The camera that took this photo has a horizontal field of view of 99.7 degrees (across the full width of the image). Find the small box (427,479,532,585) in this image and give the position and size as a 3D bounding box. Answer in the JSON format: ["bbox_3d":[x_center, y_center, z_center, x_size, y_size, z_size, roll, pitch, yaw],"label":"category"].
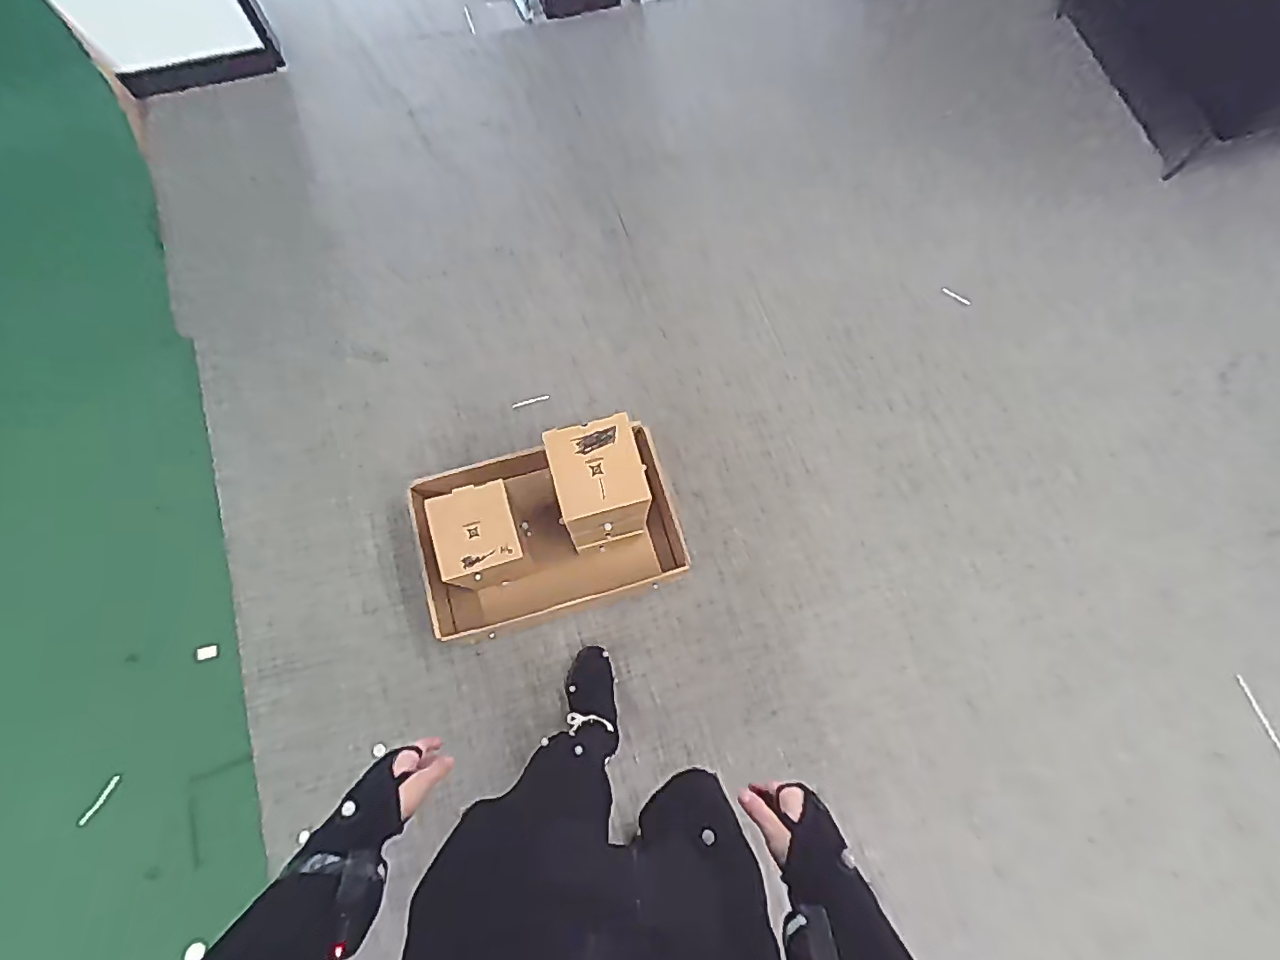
[{"bbox_3d":[-0.344,0.120,1.182,0.168,0.176,0.179,-16,76,-7],"label":"small box"}]

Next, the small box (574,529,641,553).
[{"bbox_3d":[-0.097,0.084,1.381,0.168,0.176,0.179,-15,76,-6],"label":"small box"}]

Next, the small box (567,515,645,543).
[{"bbox_3d":[-0.089,0.039,1.222,0.168,0.176,0.179,-14,76,-6],"label":"small box"}]

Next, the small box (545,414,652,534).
[{"bbox_3d":[-0.082,-0.005,1.064,0.168,0.176,0.179,-15,77,-6],"label":"small box"}]
